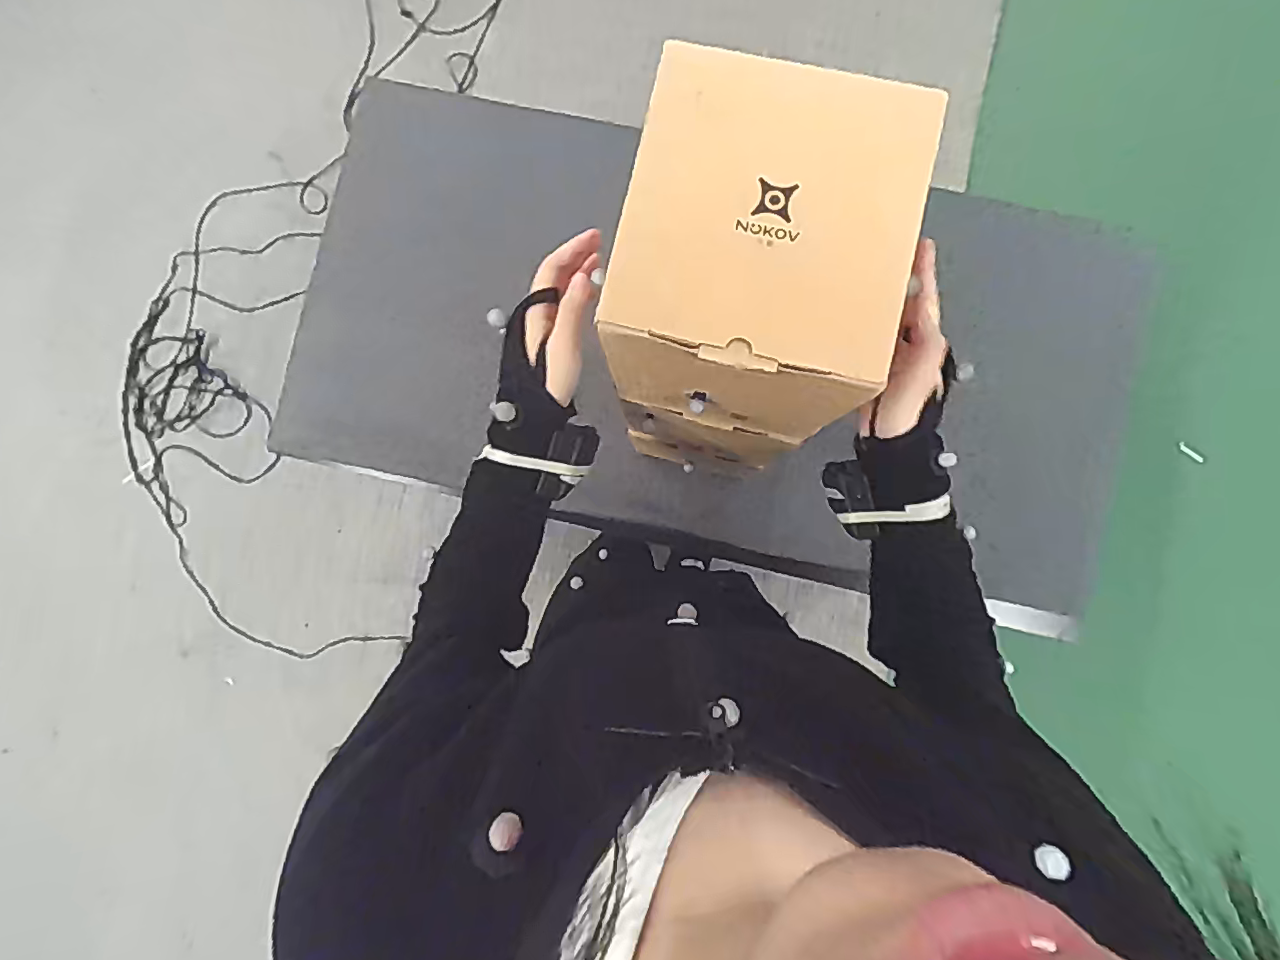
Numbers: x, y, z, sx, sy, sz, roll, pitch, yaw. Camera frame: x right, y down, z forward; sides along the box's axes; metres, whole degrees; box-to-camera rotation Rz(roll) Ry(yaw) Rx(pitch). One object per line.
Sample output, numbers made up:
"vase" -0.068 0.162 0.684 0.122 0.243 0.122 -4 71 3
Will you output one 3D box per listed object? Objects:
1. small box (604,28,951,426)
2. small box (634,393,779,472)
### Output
"small box" 0.079 -0.150 0.378 0.168 0.176 0.179 12 86 3
"small box" 0.094 -0.116 0.703 0.168 0.176 0.179 14 87 4
